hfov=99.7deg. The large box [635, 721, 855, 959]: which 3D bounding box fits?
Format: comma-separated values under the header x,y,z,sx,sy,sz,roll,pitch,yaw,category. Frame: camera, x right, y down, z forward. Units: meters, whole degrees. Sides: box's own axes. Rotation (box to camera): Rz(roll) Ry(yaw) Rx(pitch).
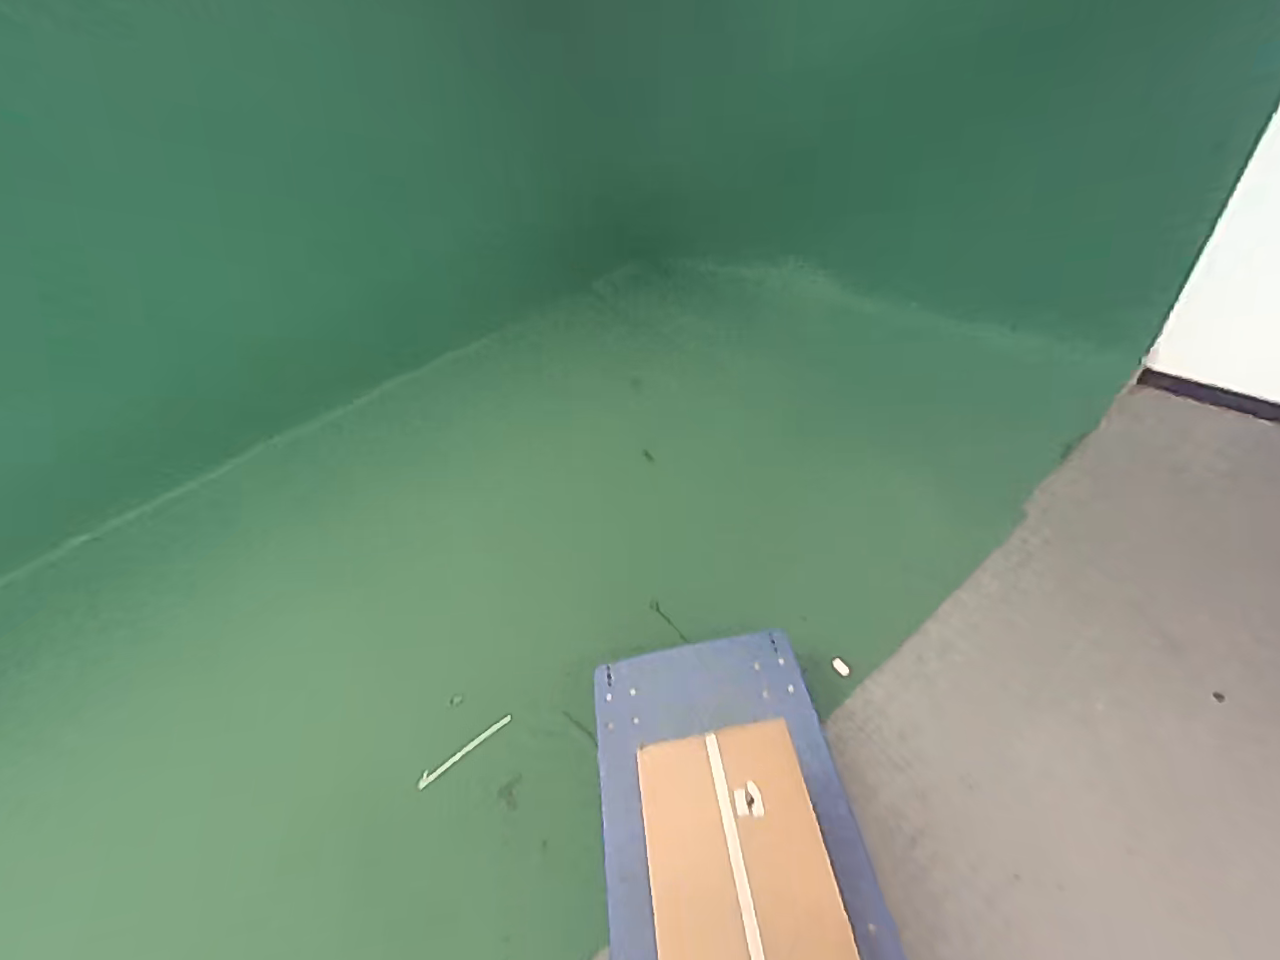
x,y,z,sx,sy,sz,roll,pitch,yaw,category
0.192,0.769,1.076,0.320,0.320,0.408,-12,42,2,large box
